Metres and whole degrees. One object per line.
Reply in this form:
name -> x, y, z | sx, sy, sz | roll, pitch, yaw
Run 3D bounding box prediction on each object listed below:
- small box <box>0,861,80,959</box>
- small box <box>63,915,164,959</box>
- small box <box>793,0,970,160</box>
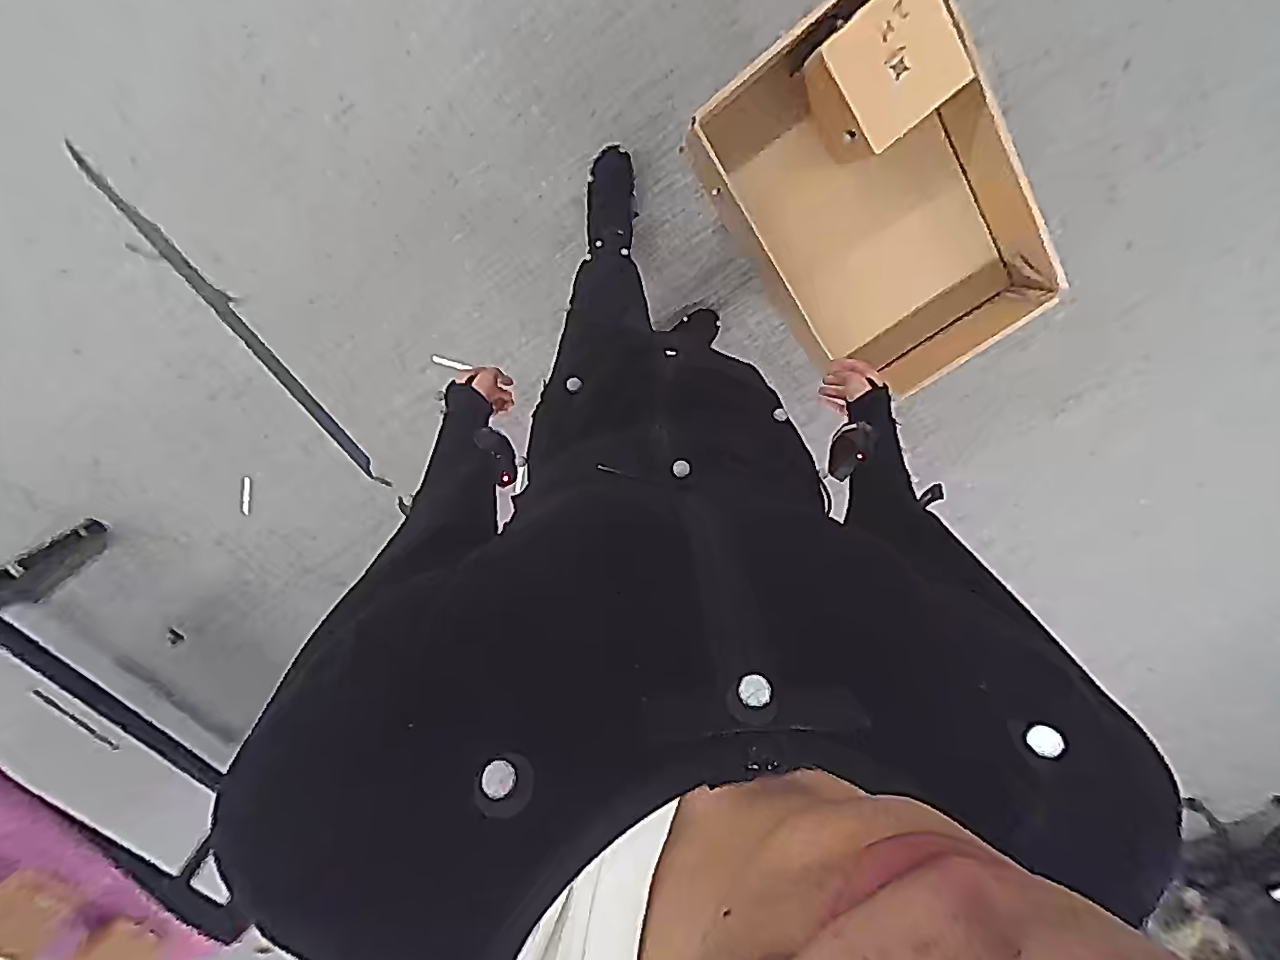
small box -> -1.629, 1.133, 1.395 | 0.179, 0.176, 0.168 | -34, 111, 17
small box -> -1.481, 1.343, 1.490 | 0.179, 0.176, 0.168 | -31, 111, 17
small box -> 0.371, -0.639, 0.858 | 0.168, 0.176, 0.179 | -35, 109, 15
